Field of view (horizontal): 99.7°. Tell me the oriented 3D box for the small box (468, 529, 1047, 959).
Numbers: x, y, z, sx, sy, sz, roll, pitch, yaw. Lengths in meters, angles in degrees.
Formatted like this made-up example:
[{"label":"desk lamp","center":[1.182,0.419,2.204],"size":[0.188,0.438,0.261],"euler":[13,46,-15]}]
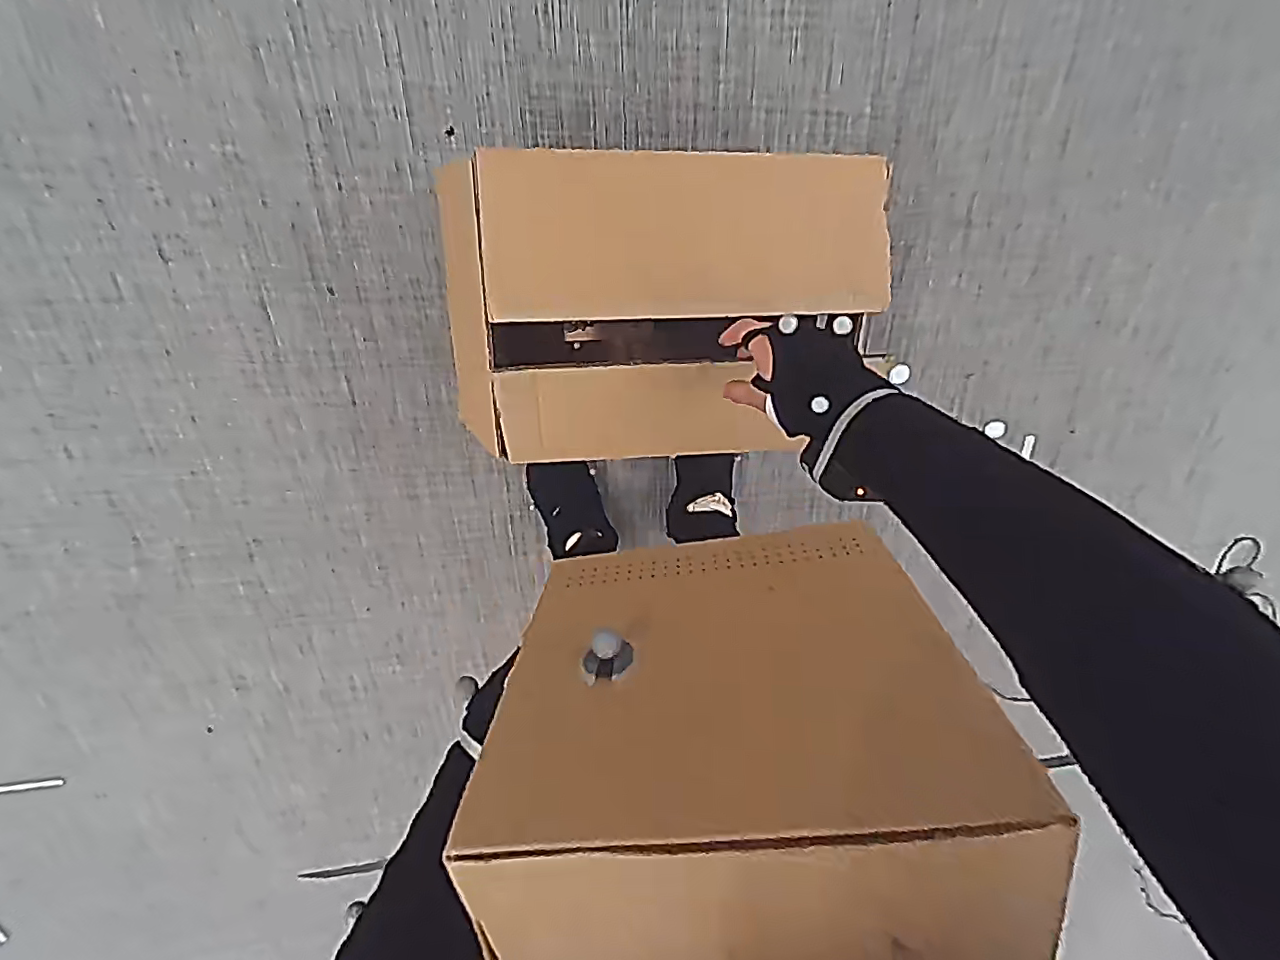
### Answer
[{"label":"small box","center":[0.048,0.141,0.263],"size":[0.179,0.176,0.168],"euler":[-9,113,7]}]
